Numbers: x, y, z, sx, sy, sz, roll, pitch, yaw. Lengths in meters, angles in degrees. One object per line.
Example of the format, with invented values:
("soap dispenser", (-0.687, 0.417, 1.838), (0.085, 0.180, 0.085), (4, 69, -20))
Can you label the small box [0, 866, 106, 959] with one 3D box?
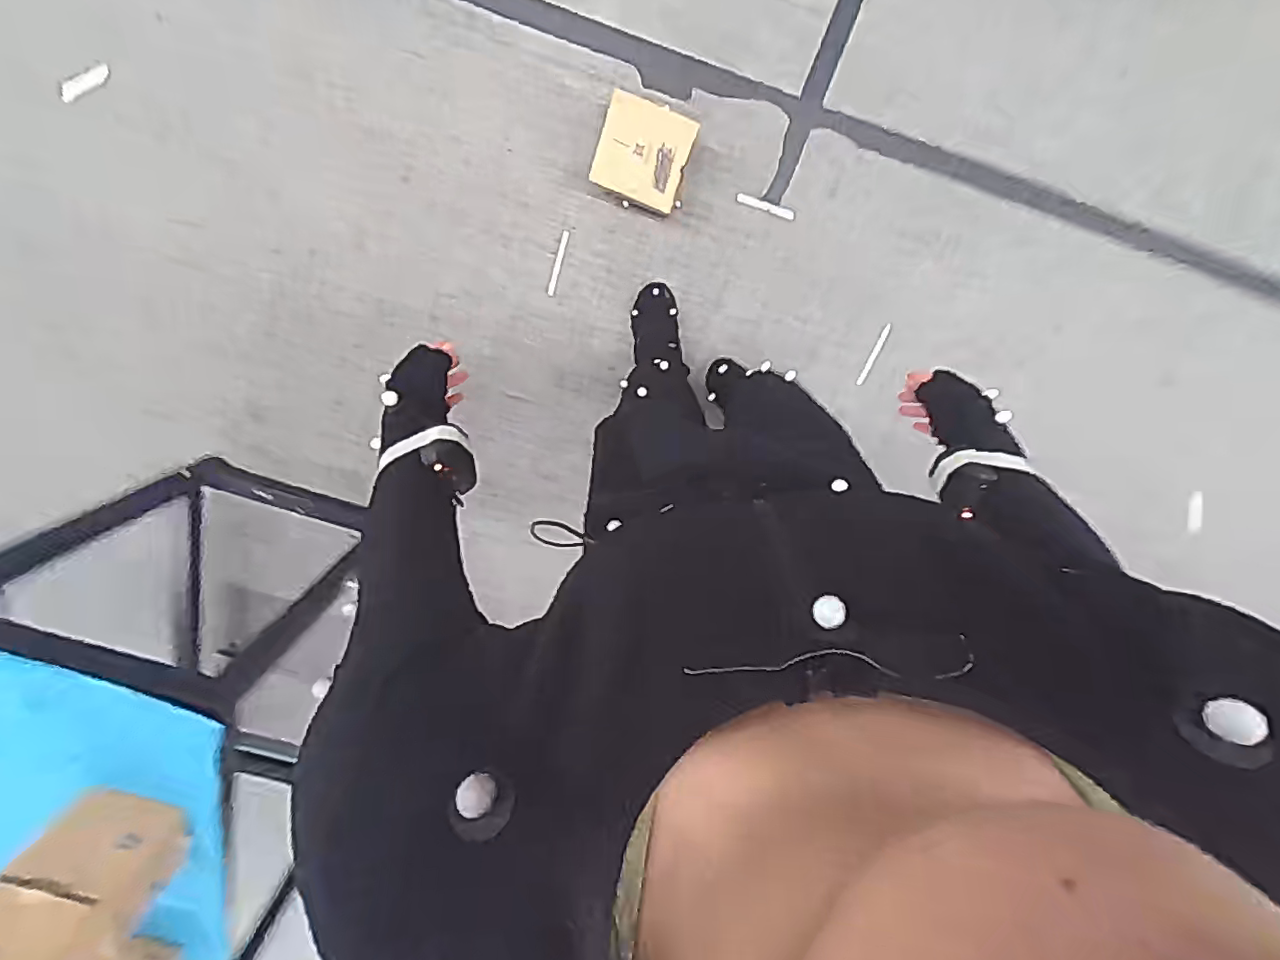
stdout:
("small box", (-0.964, 0.725, 0.804), (0.168, 0.176, 0.179), (20, 116, -4))

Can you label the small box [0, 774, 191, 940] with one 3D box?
("small box", (-0.952, 0.667, 0.957), (0.179, 0.176, 0.168), (18, 113, -4))

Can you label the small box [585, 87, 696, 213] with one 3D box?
("small box", (0.003, -0.675, 1.129), (0.179, 0.176, 0.168), (21, 112, -6))

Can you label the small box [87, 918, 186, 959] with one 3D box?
("small box", (-1.114, 1.070, 1.137), (0.179, 0.176, 0.168), (22, 112, -8))
